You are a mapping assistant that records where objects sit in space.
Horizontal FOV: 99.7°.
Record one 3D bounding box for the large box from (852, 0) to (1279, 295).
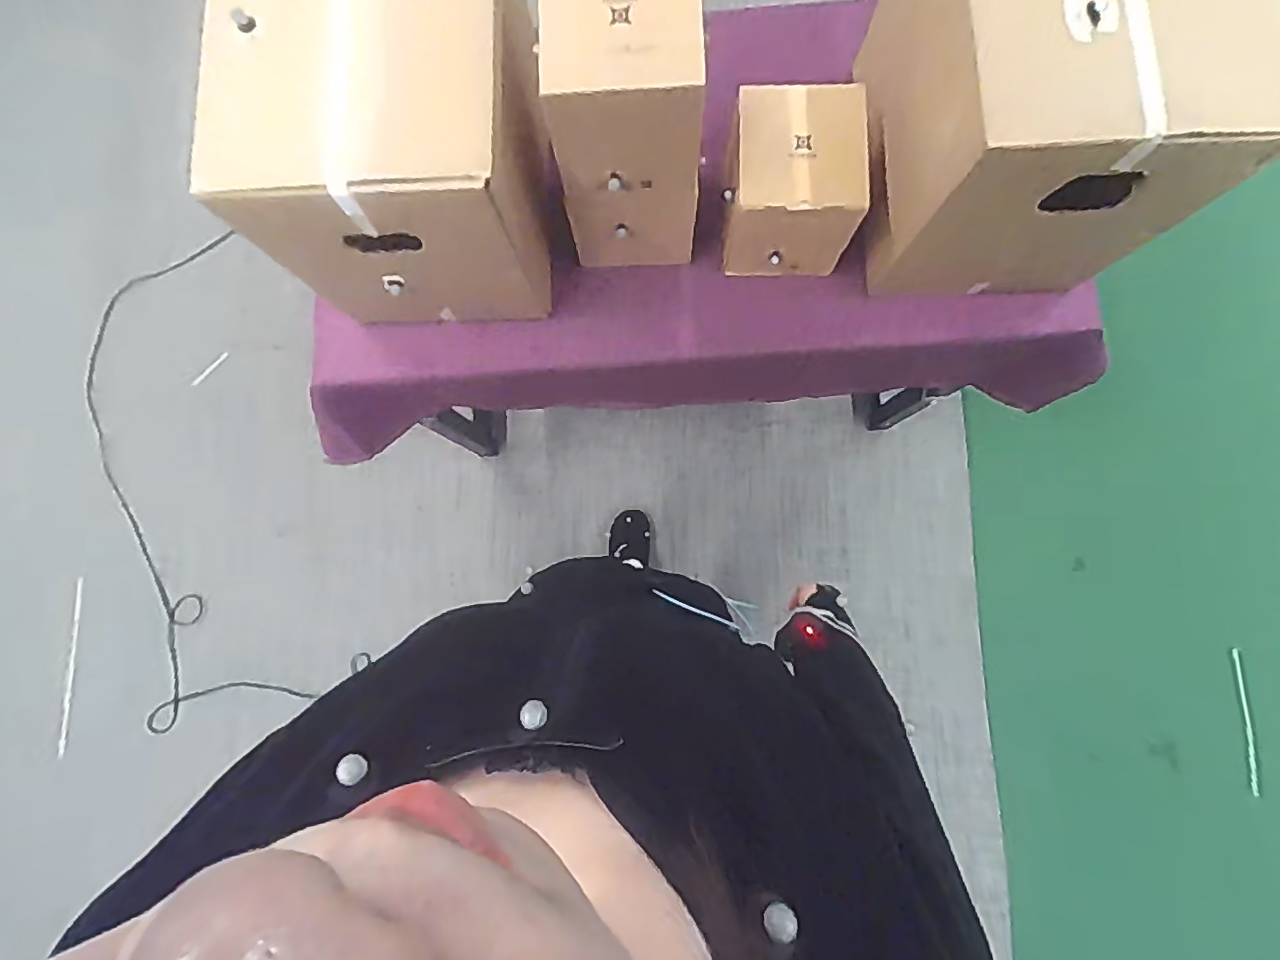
[{"bbox_3d":[0.501,-0.503,0.716,0.320,0.320,0.408,-1,83,1],"label":"large box"}]
